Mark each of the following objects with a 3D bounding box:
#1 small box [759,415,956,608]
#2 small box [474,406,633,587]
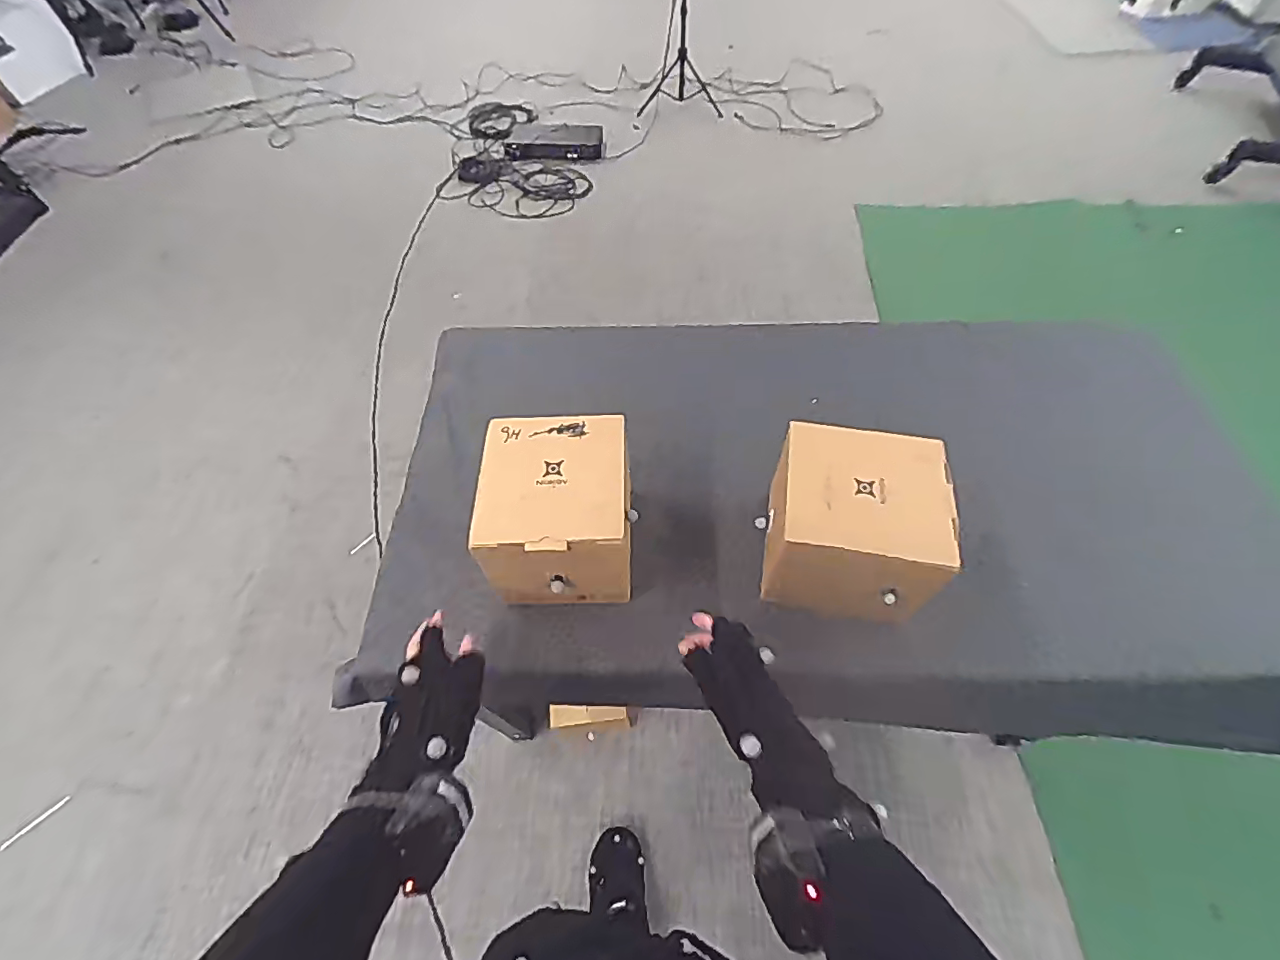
[{"bbox_3d":[0.252,0.044,0.664,0.179,0.176,0.168,8,57,7],"label":"small box"},{"bbox_3d":[-0.094,0.029,0.679,0.168,0.176,0.179,-1,57,0],"label":"small box"}]
